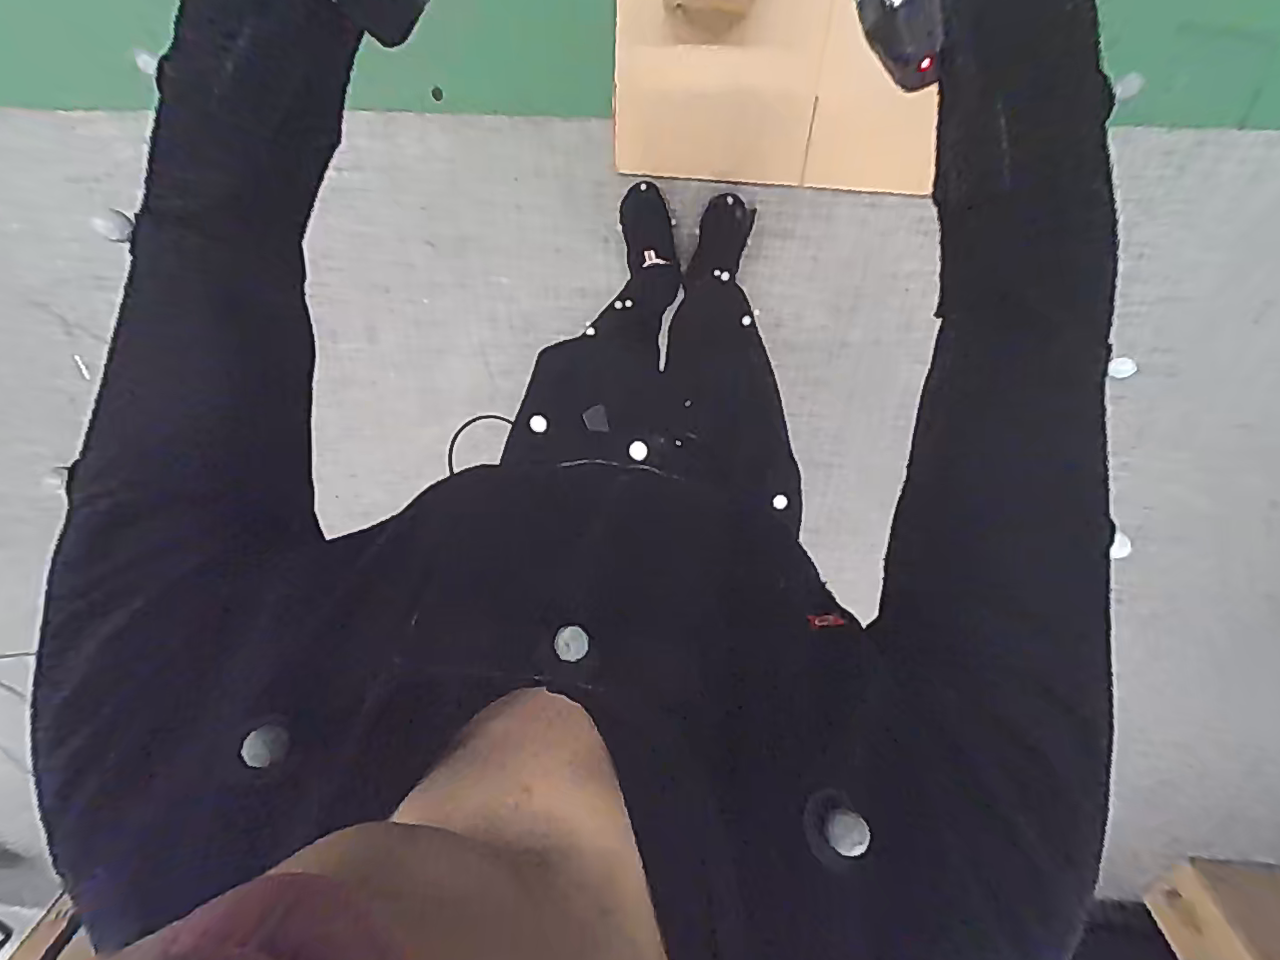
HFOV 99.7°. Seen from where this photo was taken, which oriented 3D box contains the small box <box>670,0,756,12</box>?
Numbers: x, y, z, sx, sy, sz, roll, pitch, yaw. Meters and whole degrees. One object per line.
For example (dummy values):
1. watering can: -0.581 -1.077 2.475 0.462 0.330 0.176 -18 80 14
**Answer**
1. small box: 0.127 -0.899 0.887 0.168 0.176 0.179 7 122 2
